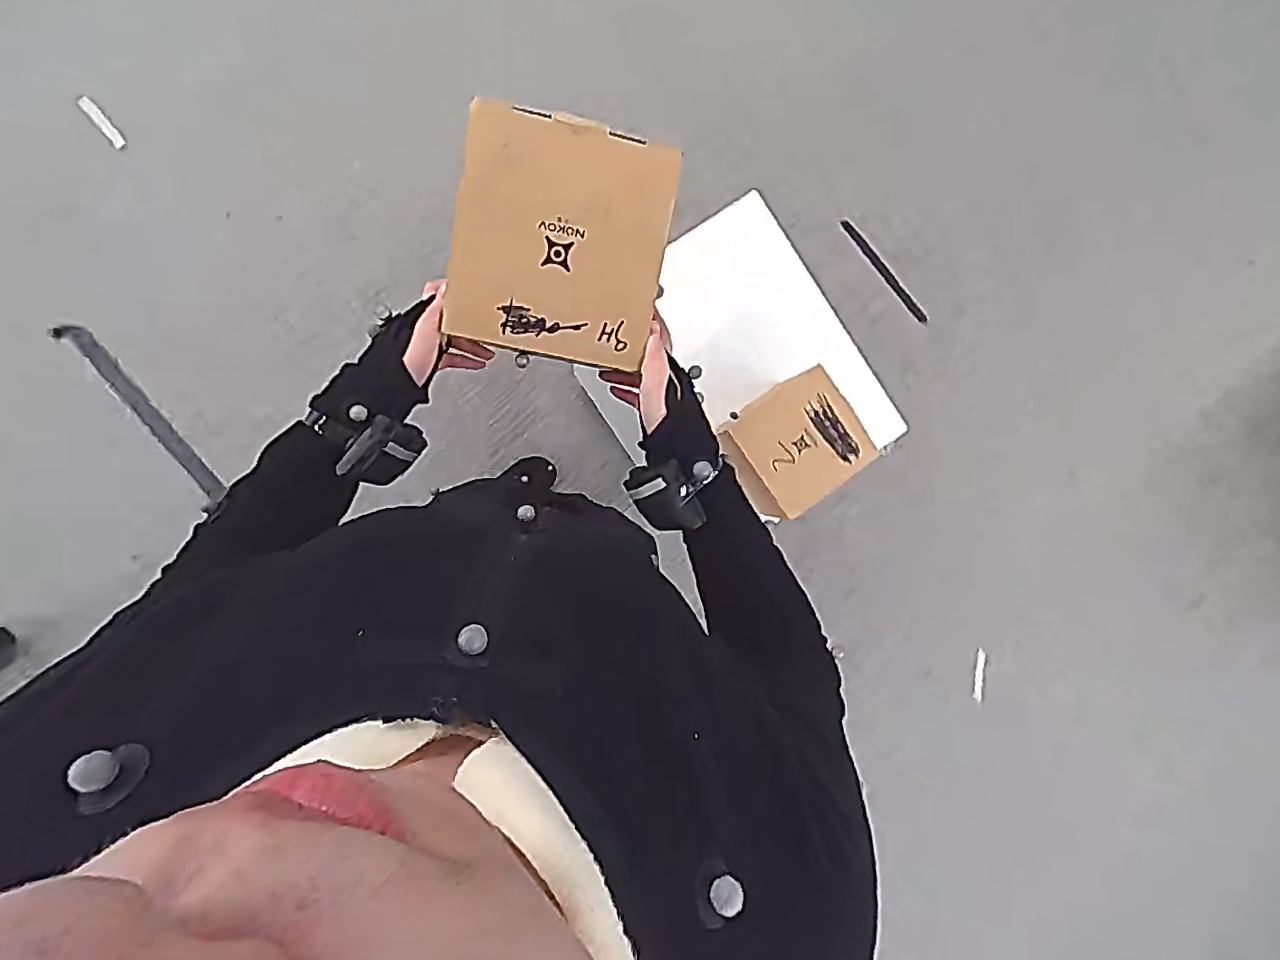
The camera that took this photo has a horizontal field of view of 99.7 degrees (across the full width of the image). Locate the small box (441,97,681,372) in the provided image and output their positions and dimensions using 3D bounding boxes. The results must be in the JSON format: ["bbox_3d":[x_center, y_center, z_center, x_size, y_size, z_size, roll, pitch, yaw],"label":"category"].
[{"bbox_3d":[-0.070,-0.202,0.501,0.168,0.176,0.179,9,100,-7],"label":"small box"}]
